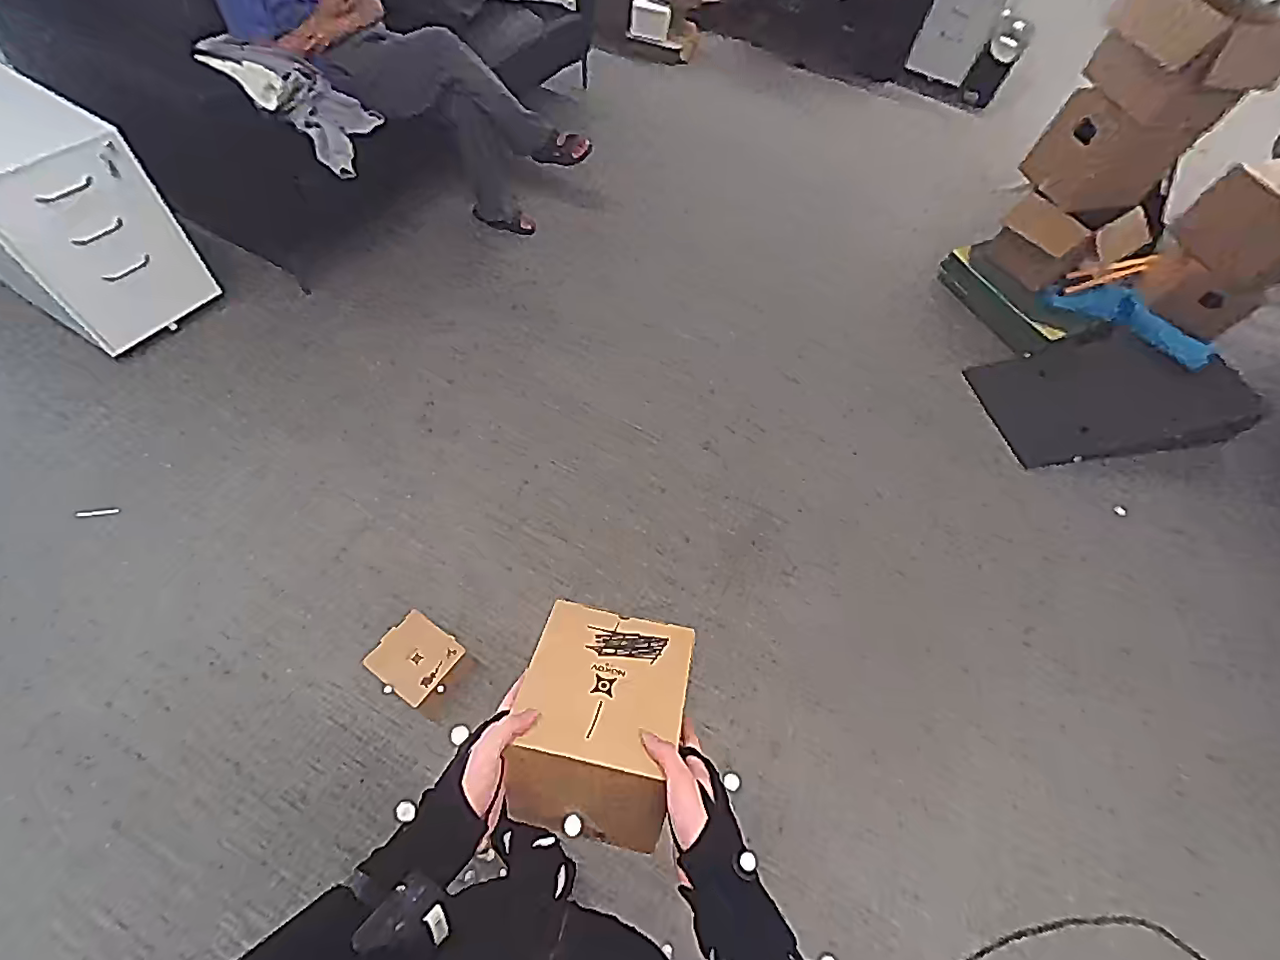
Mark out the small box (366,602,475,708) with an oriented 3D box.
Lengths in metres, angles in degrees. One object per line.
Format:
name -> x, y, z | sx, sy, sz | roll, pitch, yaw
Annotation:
small box -> -0.539, 0.442, 1.351 | 0.179, 0.176, 0.168 | 34, 59, 13

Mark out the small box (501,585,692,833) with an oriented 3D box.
small box -> -0.044, 0.252, 0.608 | 0.168, 0.176, 0.179 | 10, 37, 6
